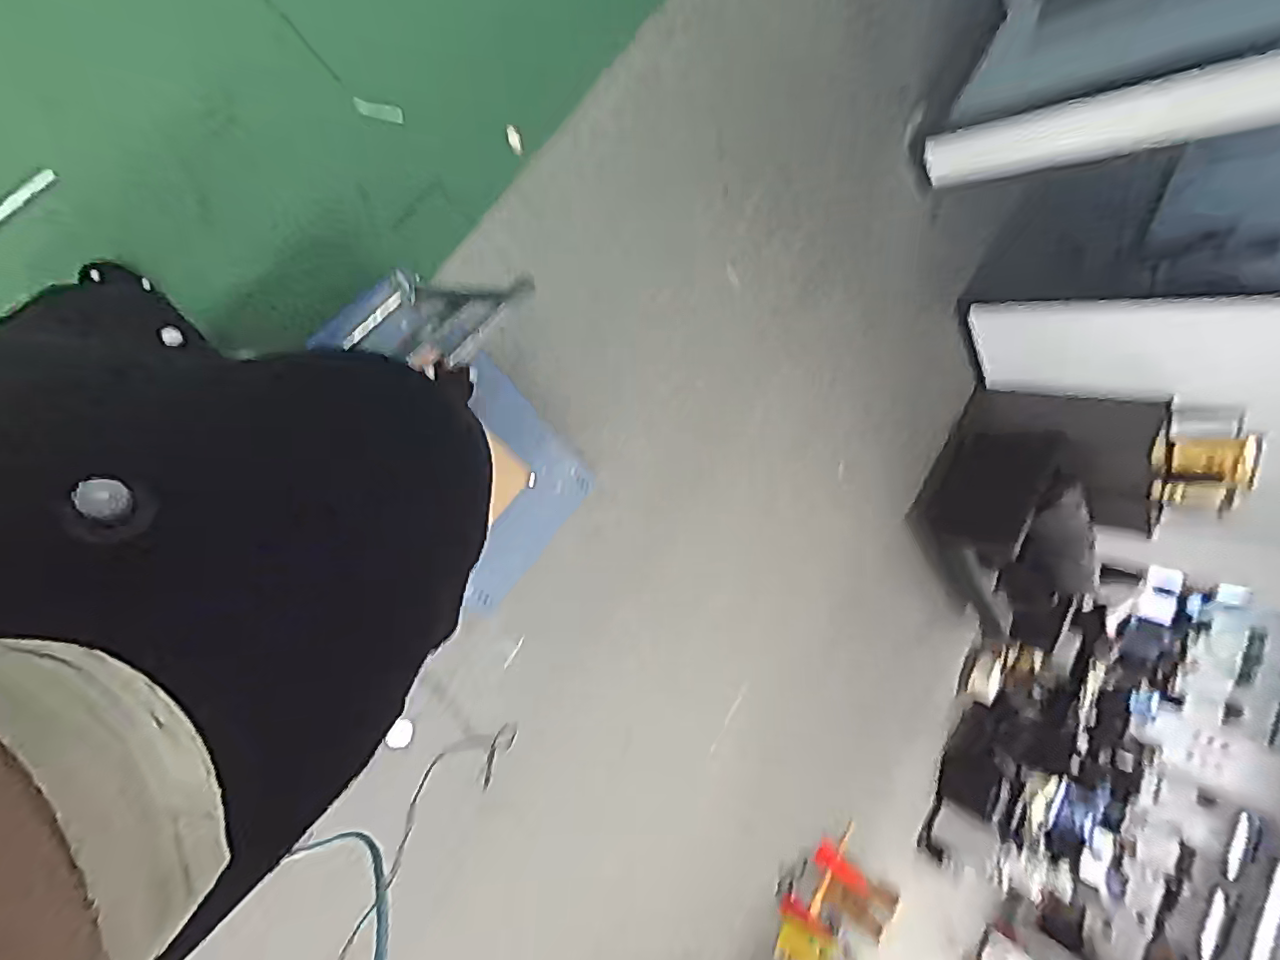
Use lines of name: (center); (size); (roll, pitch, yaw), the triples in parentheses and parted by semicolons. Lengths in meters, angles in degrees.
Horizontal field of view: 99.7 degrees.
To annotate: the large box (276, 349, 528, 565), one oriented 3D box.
large box: (-0.562, -0.062, 1.299); (0.320, 0.320, 0.408); (-53, 130, -16)
